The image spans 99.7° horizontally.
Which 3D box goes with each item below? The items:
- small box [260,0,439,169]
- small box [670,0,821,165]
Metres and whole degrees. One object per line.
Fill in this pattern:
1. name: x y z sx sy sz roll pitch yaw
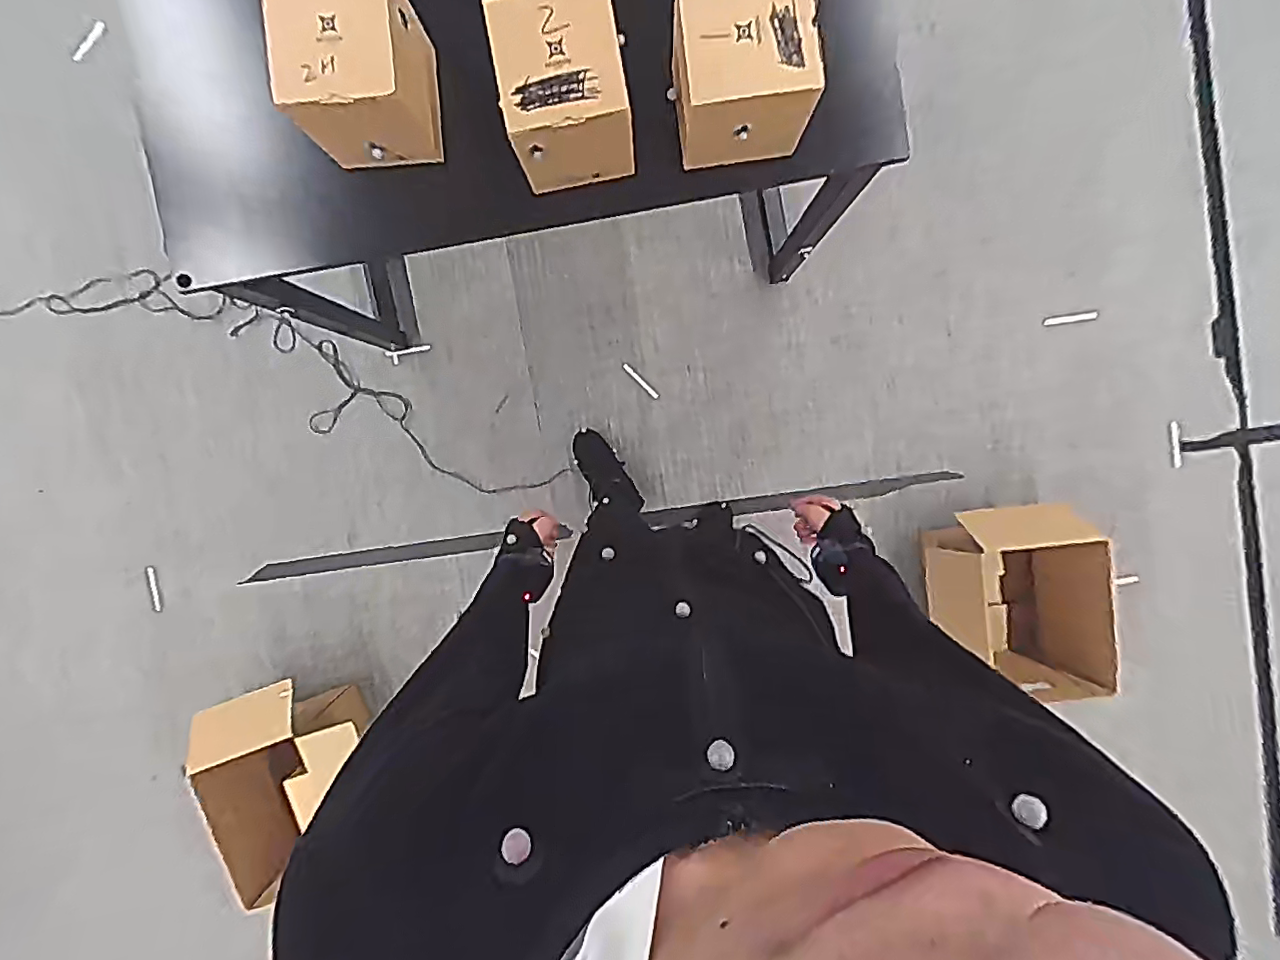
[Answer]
1. small box: -0.404 -0.582 0.777 0.168 0.176 0.179 -4 94 2
2. small box: 0.139 -0.579 0.767 0.179 0.176 0.168 -7 93 3
